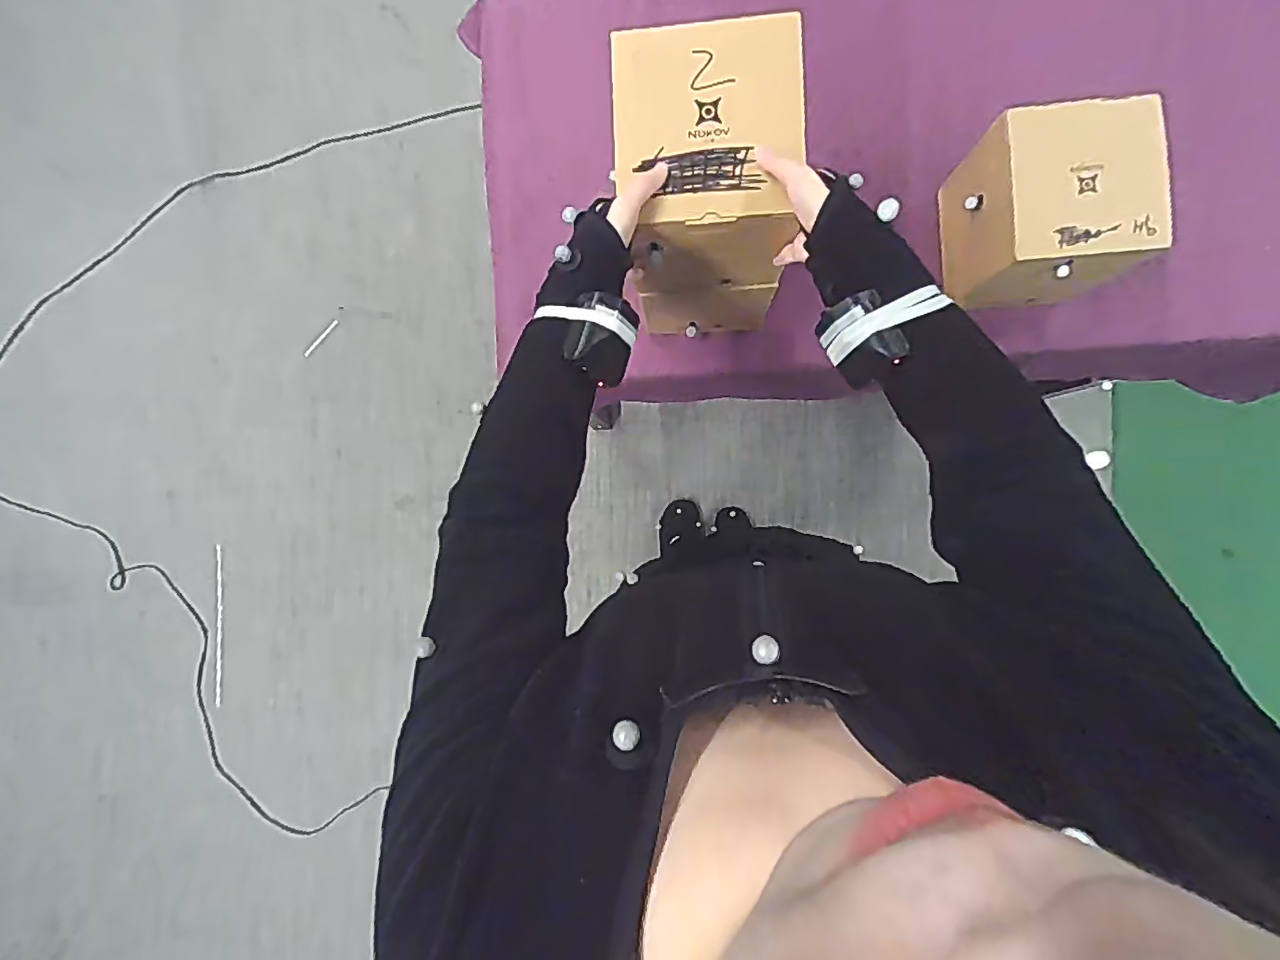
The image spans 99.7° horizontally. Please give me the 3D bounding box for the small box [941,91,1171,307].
[{"bbox_3d":[0.500,-0.336,0.678,0.168,0.176,0.179,-3,88,6],"label":"small box"}]

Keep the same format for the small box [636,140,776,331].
[{"bbox_3d":[0.082,-0.309,0.716,0.168,0.176,0.179,-2,90,6],"label":"small box"}]
